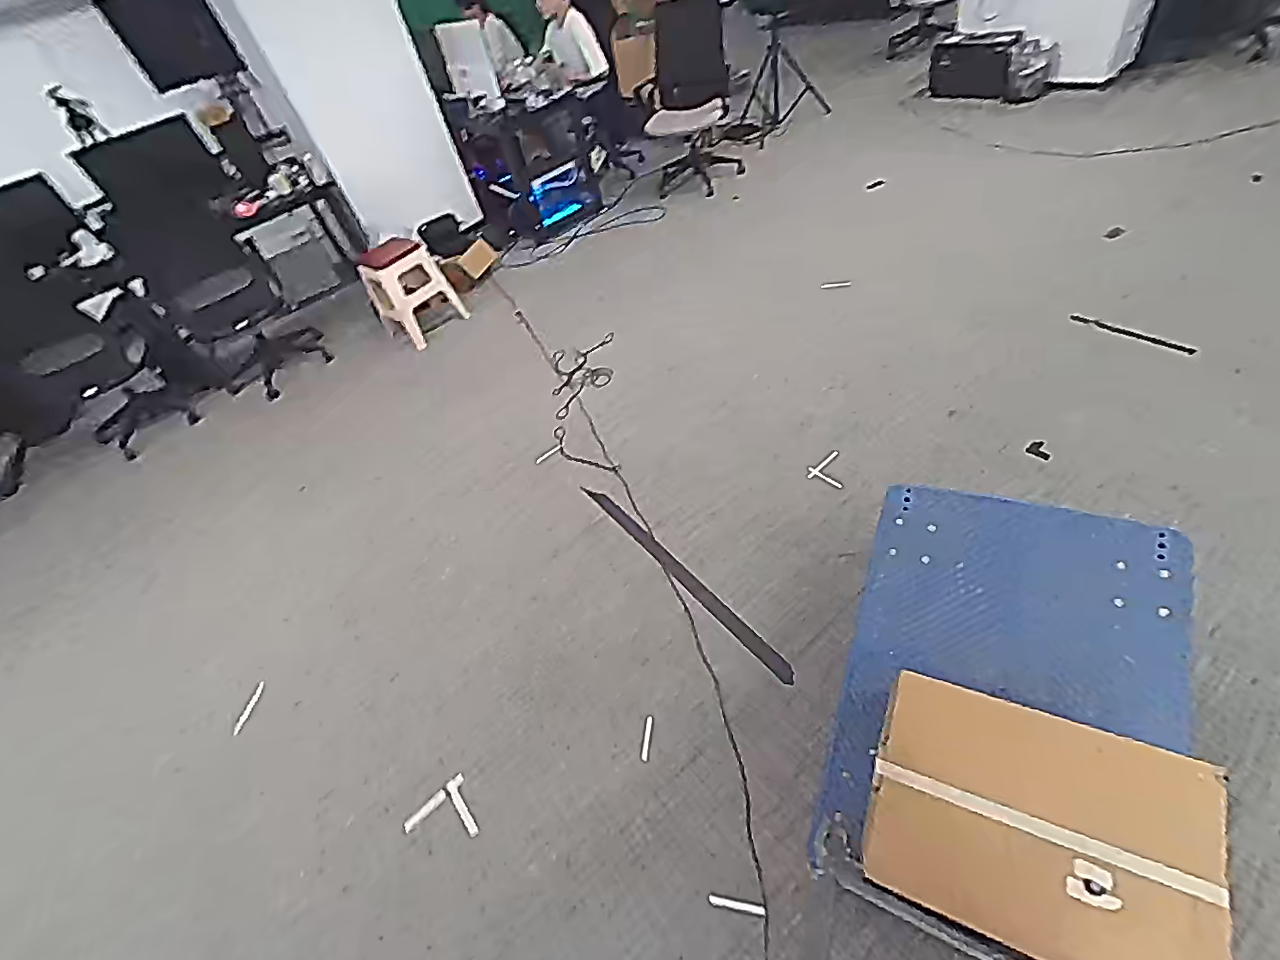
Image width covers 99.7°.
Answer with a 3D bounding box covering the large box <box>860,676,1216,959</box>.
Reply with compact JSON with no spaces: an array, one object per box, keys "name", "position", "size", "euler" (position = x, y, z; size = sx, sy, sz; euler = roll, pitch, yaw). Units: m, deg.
[{"name":"large box","position":[0.611,0.564,0.905],"size":[0.408,0.320,0.320],"euler":[12,69,26]}]
